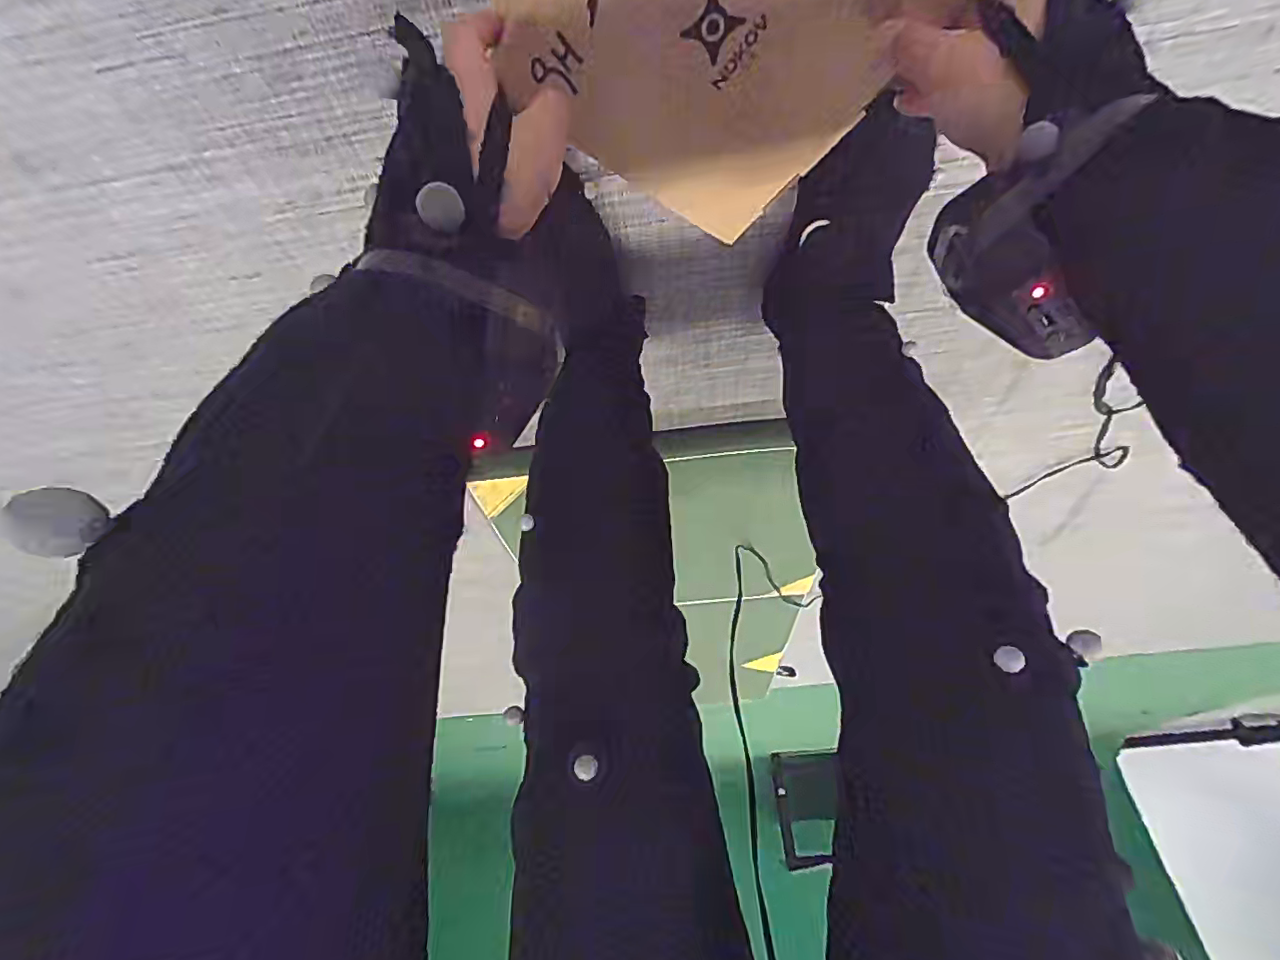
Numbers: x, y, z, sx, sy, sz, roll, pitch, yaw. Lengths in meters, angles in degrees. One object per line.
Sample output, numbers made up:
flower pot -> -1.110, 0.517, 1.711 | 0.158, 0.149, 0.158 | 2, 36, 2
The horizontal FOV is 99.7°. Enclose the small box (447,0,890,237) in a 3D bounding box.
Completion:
small box -> 0.004, -0.292, 0.315 | 0.179, 0.176, 0.168 | 14, 143, -37
